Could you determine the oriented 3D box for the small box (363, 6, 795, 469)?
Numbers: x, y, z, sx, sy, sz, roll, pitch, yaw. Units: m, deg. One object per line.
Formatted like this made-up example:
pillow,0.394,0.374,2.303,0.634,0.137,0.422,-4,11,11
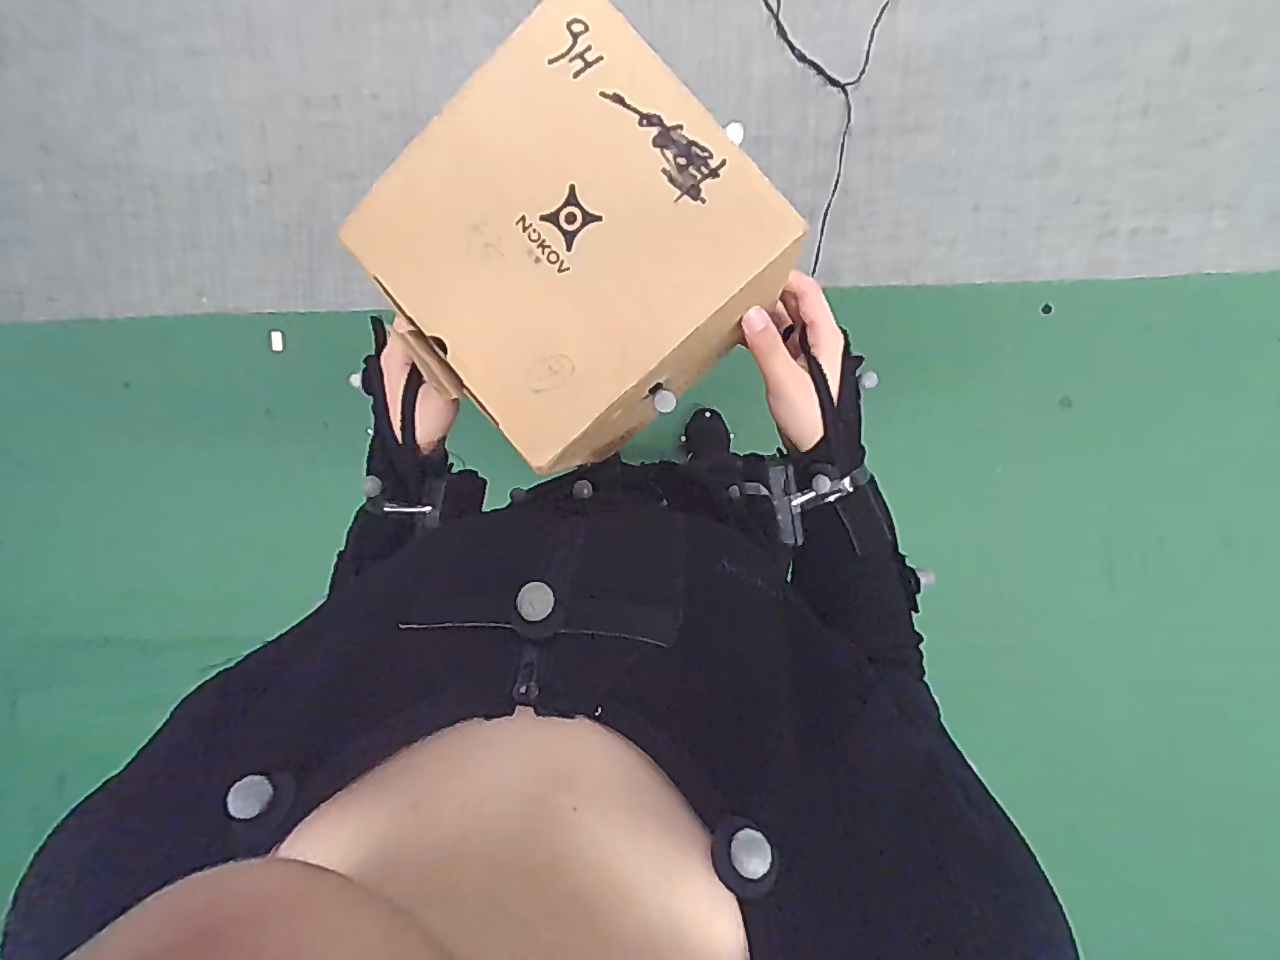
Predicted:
small box,-0.025,-0.125,0.356,0.179,0.176,0.168,-41,88,9
